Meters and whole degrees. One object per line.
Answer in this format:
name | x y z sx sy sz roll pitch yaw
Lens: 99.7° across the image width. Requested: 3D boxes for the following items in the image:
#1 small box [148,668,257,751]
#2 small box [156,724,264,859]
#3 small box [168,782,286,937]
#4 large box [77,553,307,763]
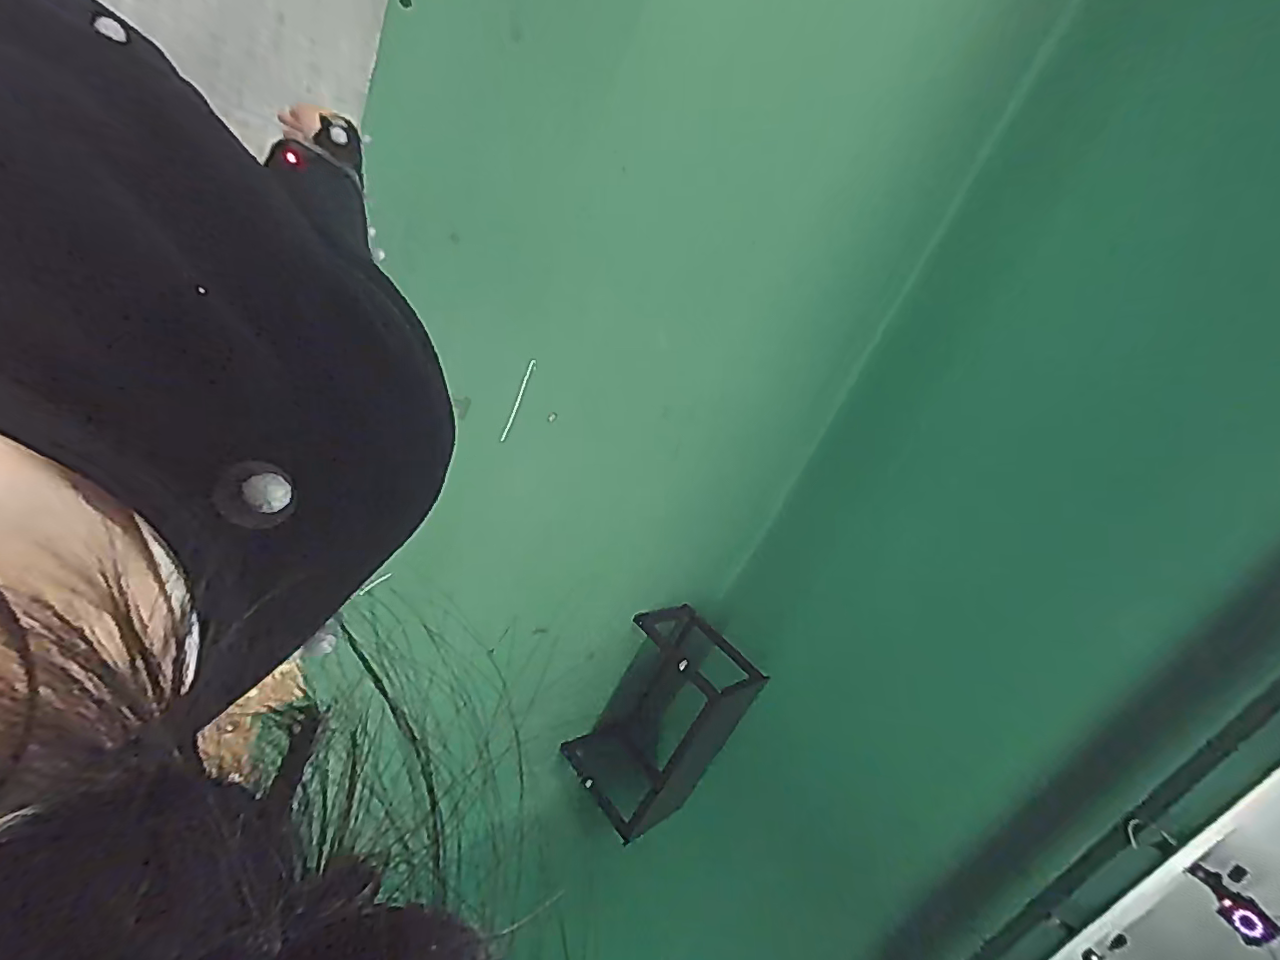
small box | -1.047 0.585 1.298 0.179 0.176 0.168 -11 128 -42
small box | -0.952 0.675 1.200 0.168 0.176 0.179 -9 127 -44
small box | -0.845 0.761 1.109 0.168 0.176 0.179 -10 126 -43
large box | -1.183 0.452 1.455 0.408 0.320 0.320 -16 133 -41
